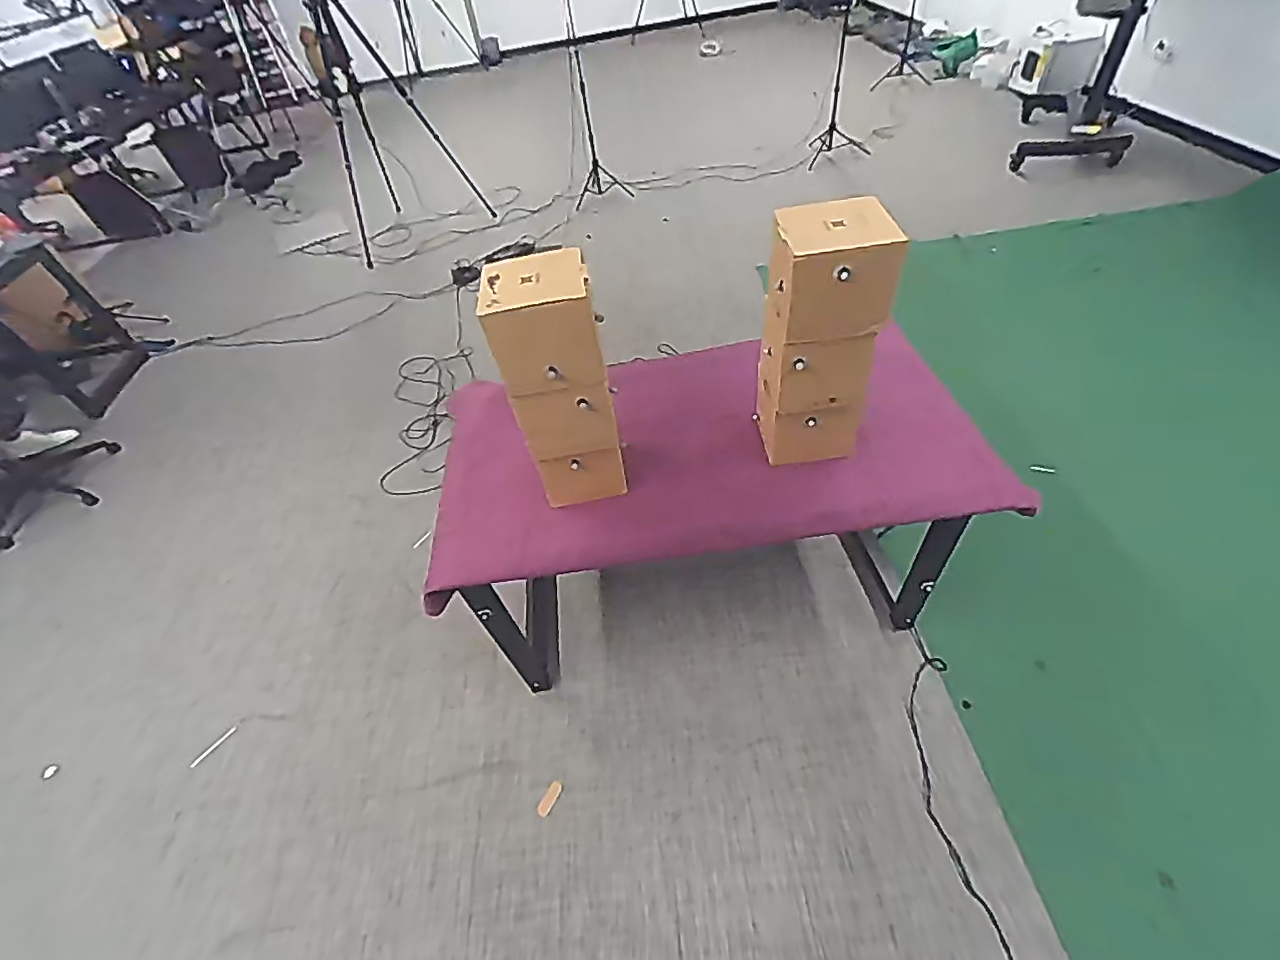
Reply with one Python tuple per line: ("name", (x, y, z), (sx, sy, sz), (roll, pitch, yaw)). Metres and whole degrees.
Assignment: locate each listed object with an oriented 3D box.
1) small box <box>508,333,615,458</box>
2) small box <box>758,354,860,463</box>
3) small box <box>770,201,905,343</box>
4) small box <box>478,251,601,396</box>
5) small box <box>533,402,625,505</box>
("small box", (-0.146, -0.164, 1.062), (0.179, 0.176, 0.168), (-9, 48, 1))
("small box", (0.360, -0.152, 1.191), (0.179, 0.176, 0.168), (-7, 48, 2))
("small box", (0.325, -0.354, 0.935), (0.179, 0.176, 0.168), (-5, 49, 4))
("small box", (-0.163, -0.268, 0.937), (0.179, 0.176, 0.168), (-9, 48, 0))
("small box", (-0.131, -0.066, 1.195), (0.179, 0.176, 0.168), (-11, 49, 0))
